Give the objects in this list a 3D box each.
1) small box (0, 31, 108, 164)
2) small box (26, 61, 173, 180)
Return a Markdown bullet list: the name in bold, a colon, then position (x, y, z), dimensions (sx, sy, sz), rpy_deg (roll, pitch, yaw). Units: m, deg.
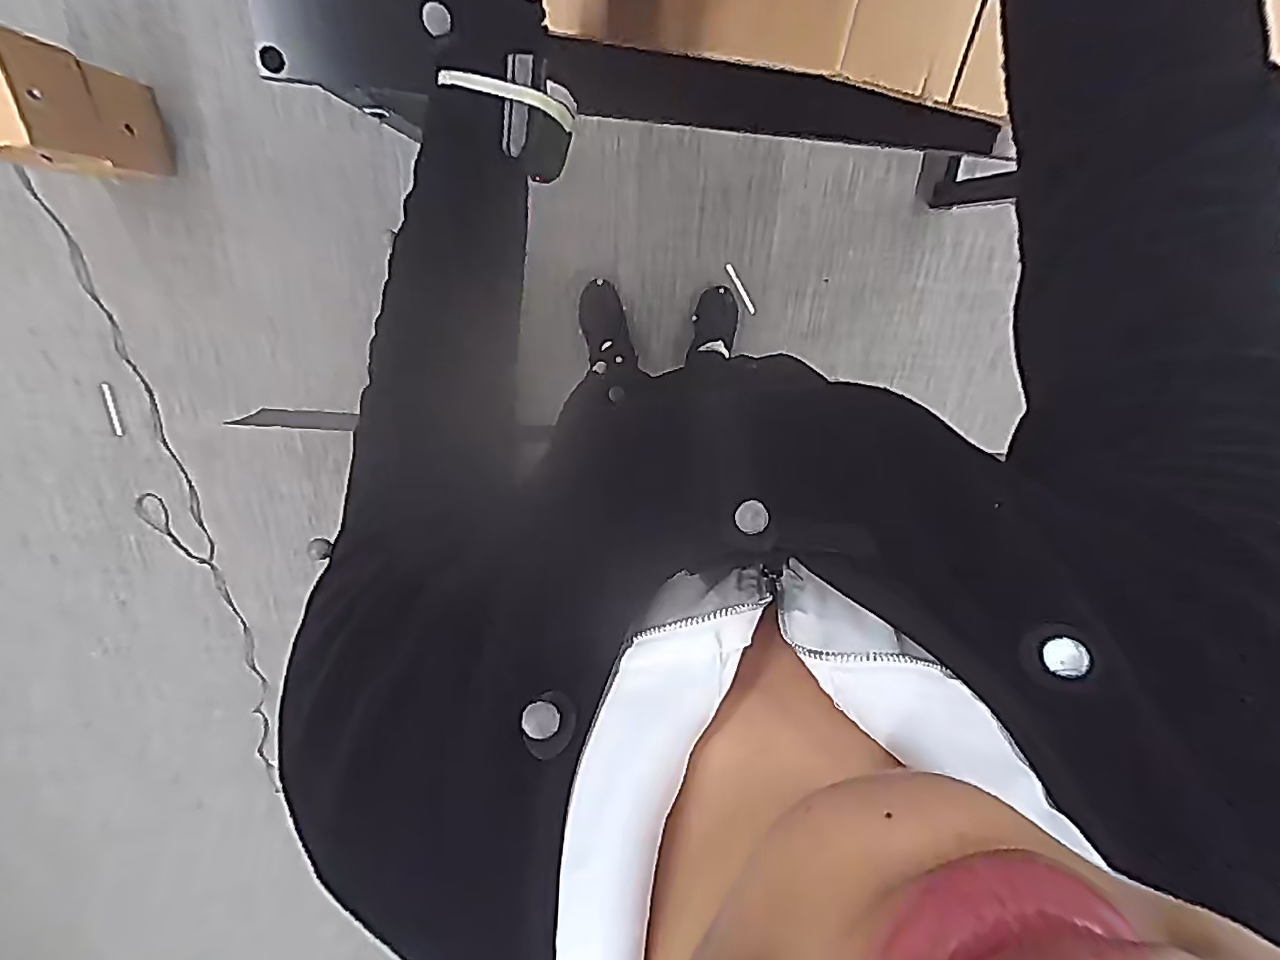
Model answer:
- **small box**: position (-1.089, -0.652, 0.928), dimensions (0.168, 0.176, 0.179), rpy_deg (-4, 112, -3)
- **small box**: position (-1.098, -0.710, 1.080), dimensions (0.168, 0.176, 0.179), rpy_deg (-1, 114, -3)
